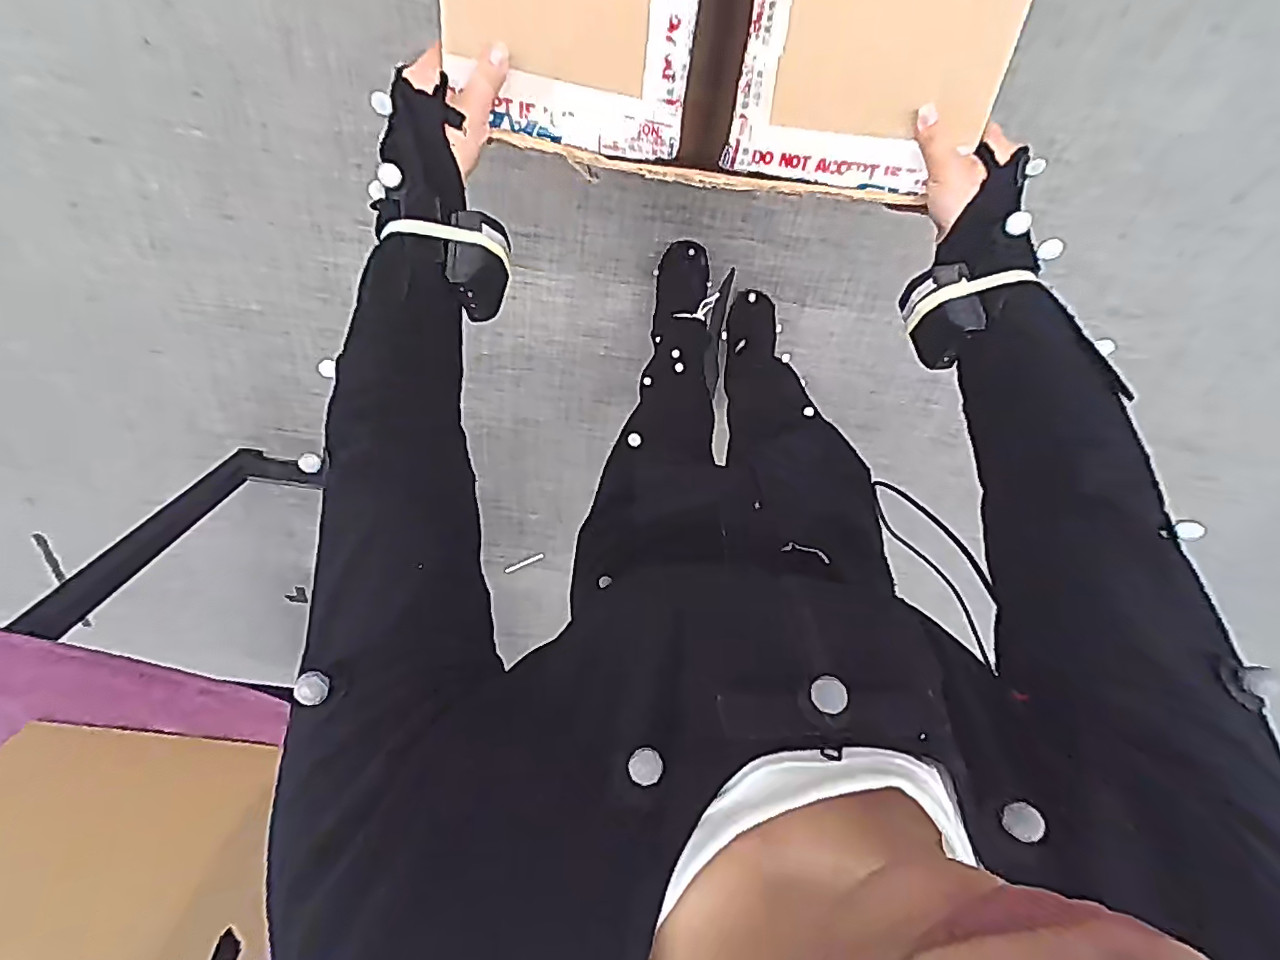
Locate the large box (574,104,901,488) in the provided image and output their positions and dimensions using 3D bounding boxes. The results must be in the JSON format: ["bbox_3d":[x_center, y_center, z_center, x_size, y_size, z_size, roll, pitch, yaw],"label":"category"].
[{"bbox_3d":[0.161,-0.216,0.804,0.320,0.320,0.408,-25,158,21],"label":"large box"}]
